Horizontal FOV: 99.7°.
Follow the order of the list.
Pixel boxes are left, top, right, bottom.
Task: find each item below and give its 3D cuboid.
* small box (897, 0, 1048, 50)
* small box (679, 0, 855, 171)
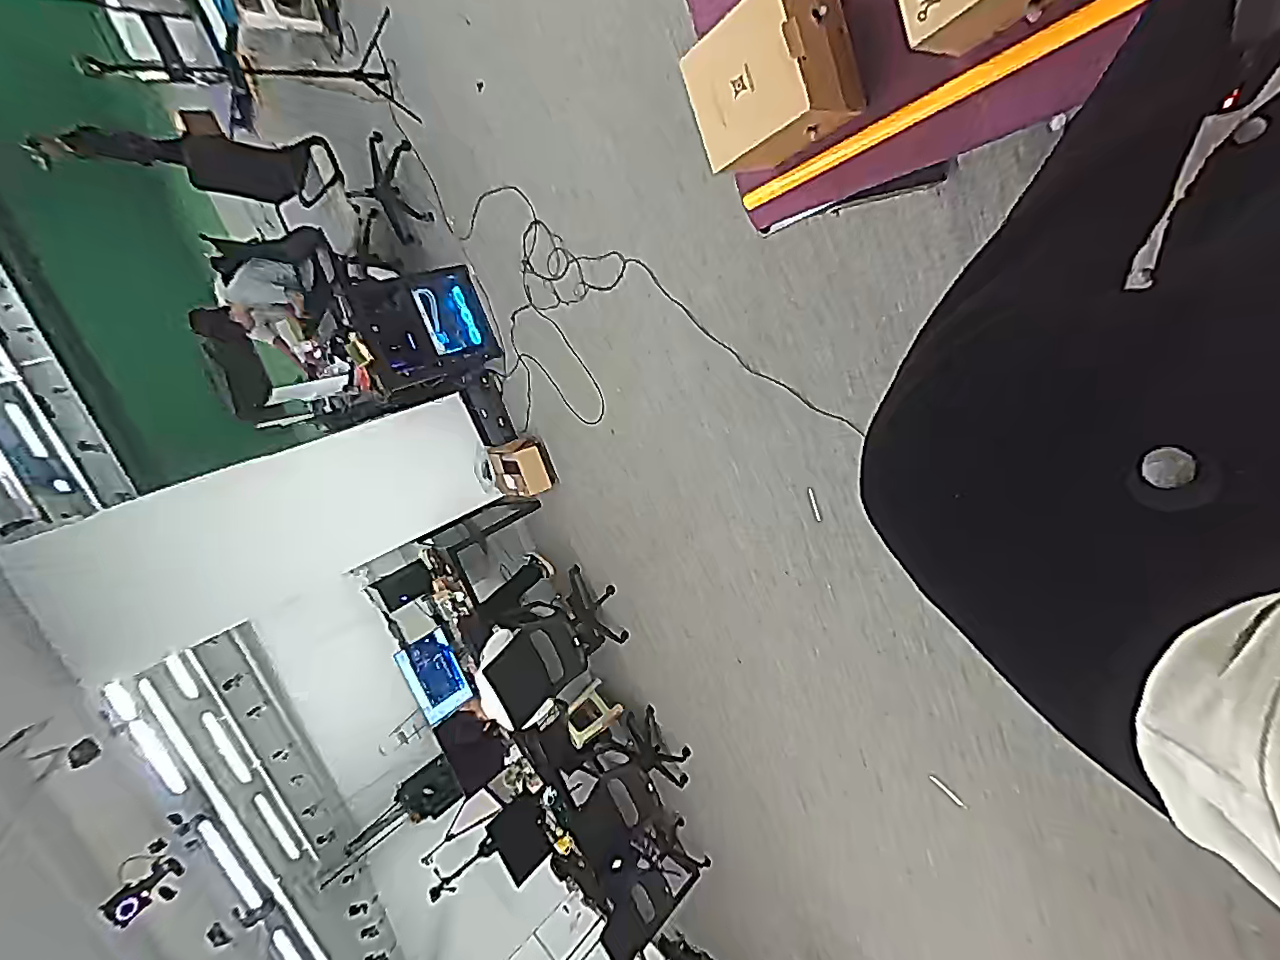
[{"bbox_3d":[0.379,-0.594,0.564,0.179,0.176,0.168,-6,109,52],"label":"small box"},{"bbox_3d":[0.194,-0.584,0.795,0.179,0.176,0.168,-6,109,50],"label":"small box"}]
